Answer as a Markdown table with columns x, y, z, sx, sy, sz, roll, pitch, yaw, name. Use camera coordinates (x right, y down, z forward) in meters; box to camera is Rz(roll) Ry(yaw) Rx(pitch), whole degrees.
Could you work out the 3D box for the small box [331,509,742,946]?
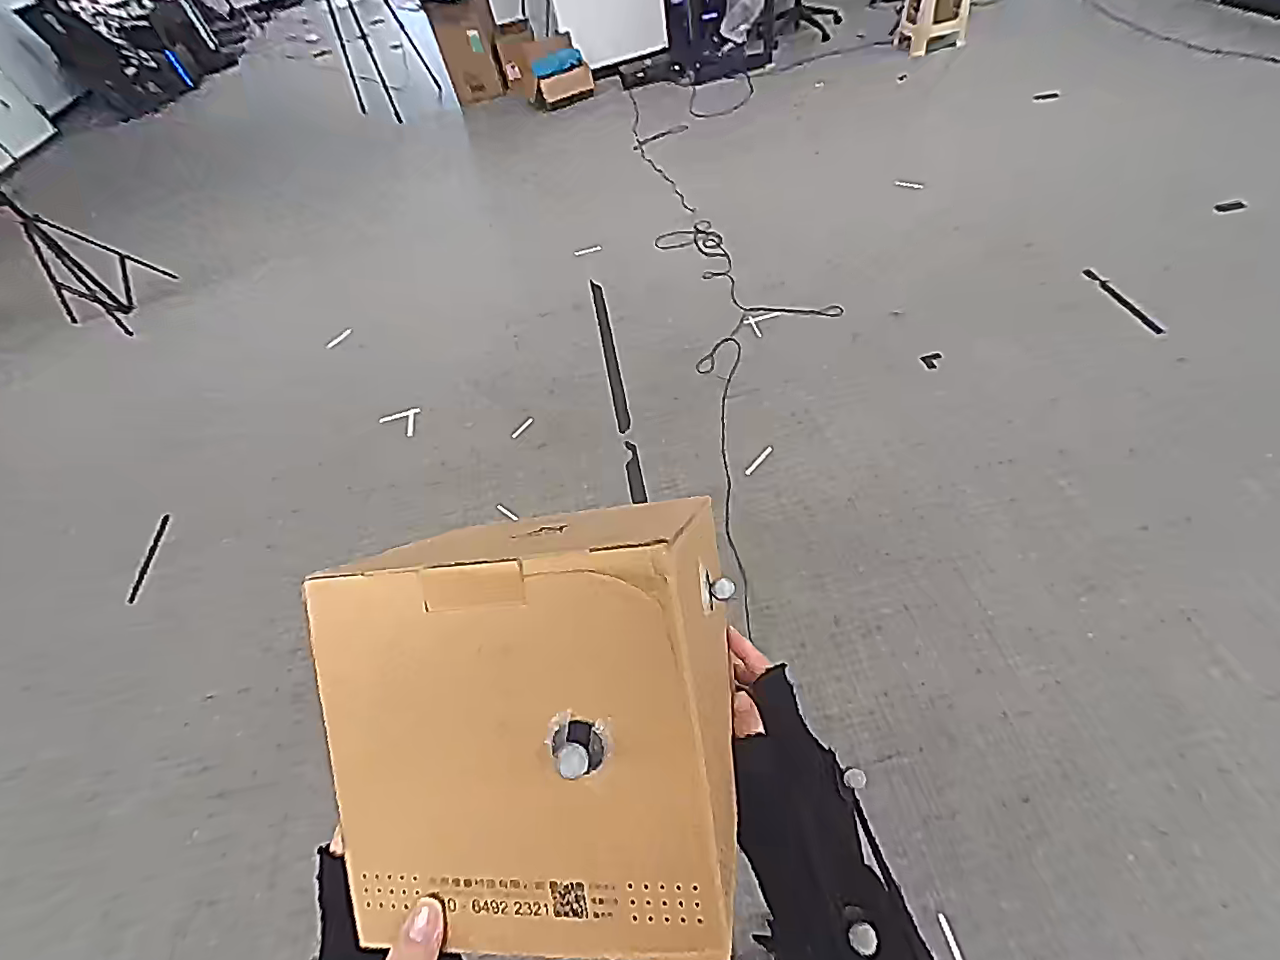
| x | y | z | sx | sy | sz | roll | pitch | yaw | name |
| --- | --- | --- | --- | --- | --- | --- | --- | --- | --- |
| -0.036 | 0.119 | 0.317 | 0.168 | 0.179 | 0.176 | -8 | 92 | 14 | small box |
